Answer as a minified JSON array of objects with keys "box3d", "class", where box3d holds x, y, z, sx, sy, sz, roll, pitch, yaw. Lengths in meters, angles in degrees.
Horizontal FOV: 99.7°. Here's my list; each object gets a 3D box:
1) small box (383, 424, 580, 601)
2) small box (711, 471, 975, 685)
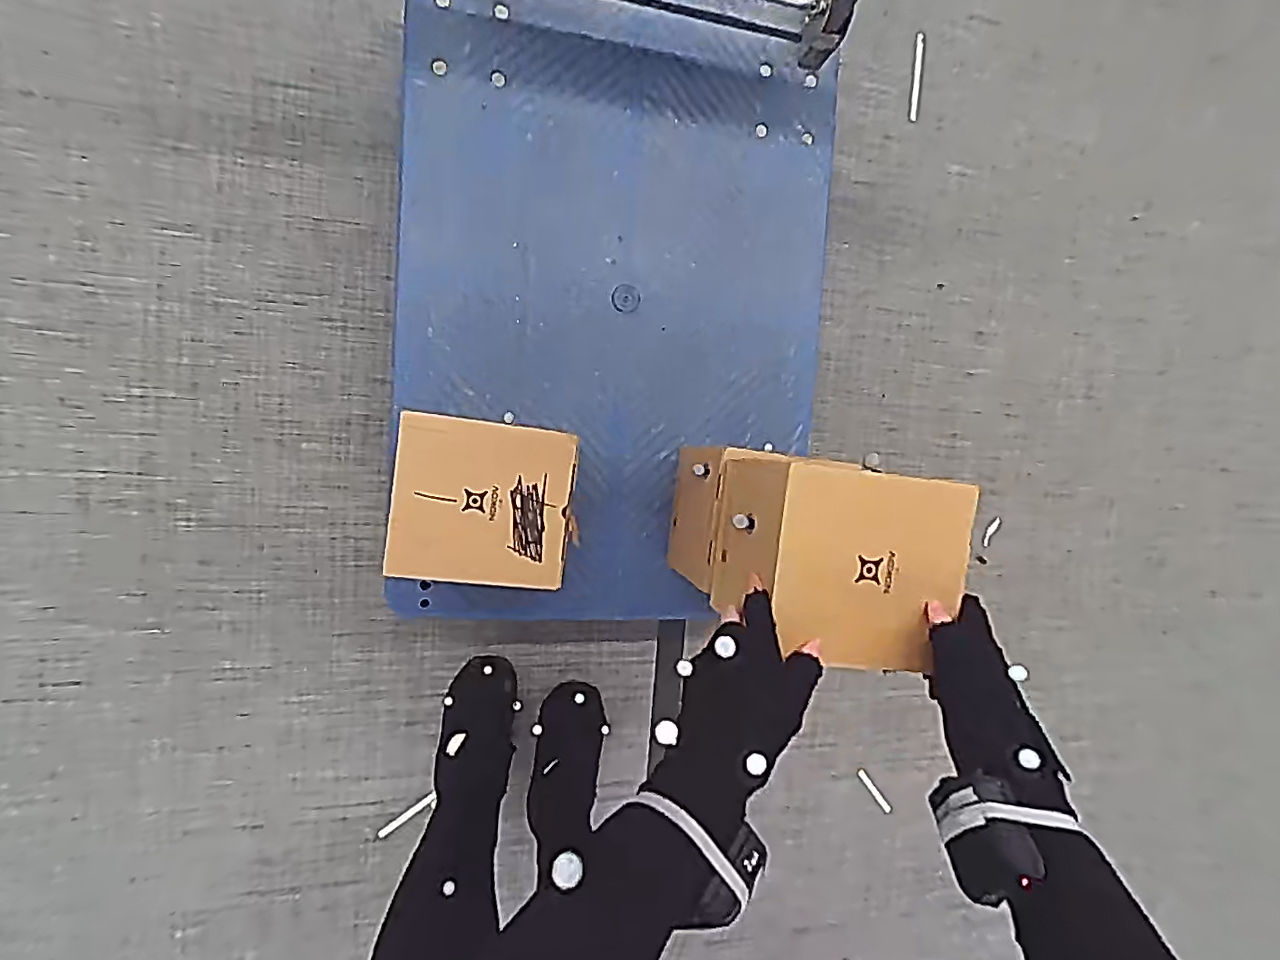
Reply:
[{"box3d":[-0.173,0.031,0.620,0.179,0.176,0.168,7,92,-12],"class":"small box"},{"box3d":[0.179,0.082,0.527,0.179,0.176,0.168,7,91,-10],"class":"small box"}]
